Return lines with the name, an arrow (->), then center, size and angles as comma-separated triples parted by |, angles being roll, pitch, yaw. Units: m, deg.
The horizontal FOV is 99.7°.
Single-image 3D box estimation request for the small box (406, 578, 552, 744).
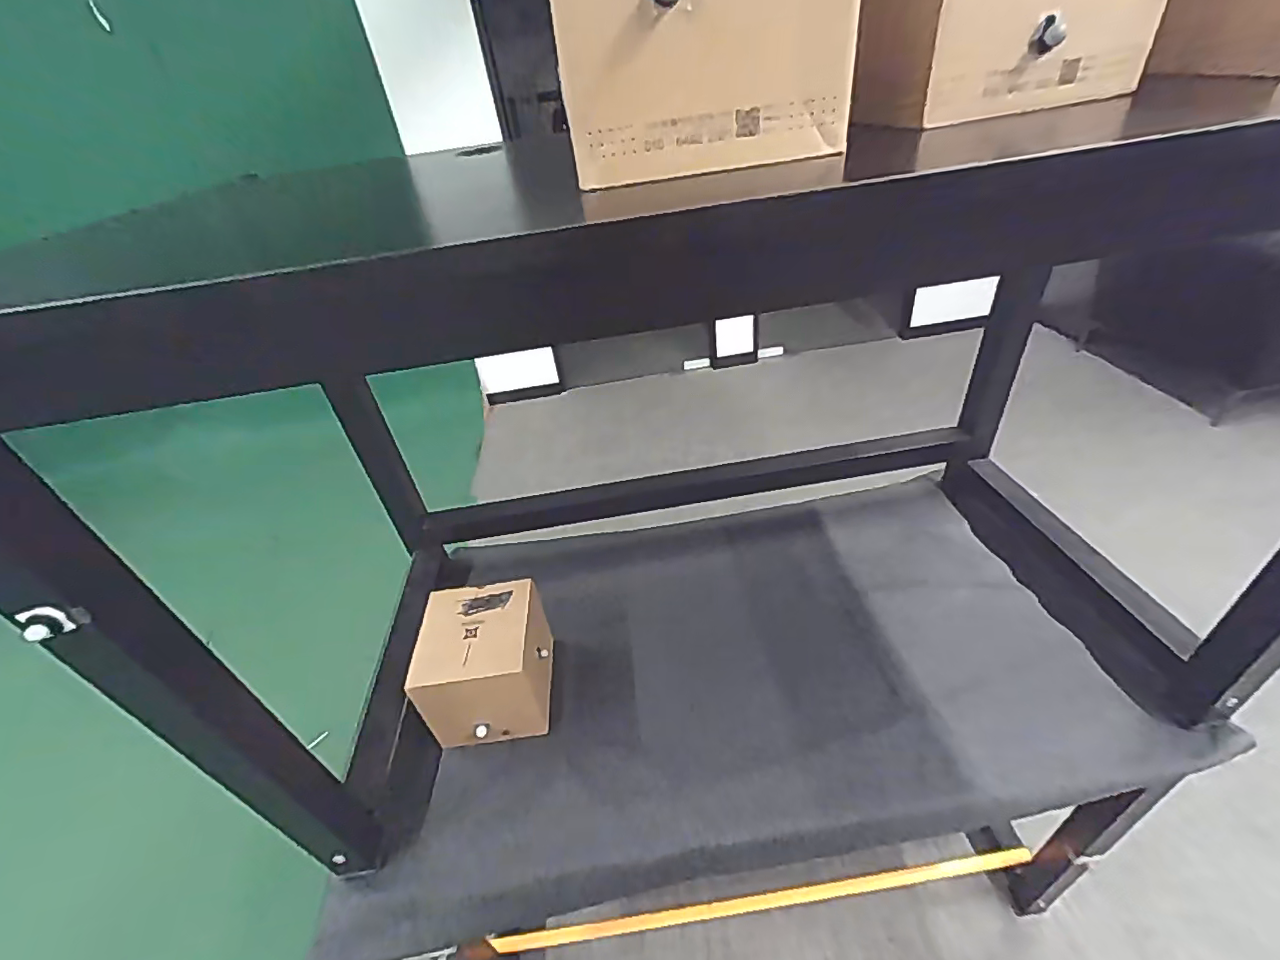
small box -> -0.238, 0.283, 0.852 | 0.168, 0.176, 0.179 | -8, 37, 0
